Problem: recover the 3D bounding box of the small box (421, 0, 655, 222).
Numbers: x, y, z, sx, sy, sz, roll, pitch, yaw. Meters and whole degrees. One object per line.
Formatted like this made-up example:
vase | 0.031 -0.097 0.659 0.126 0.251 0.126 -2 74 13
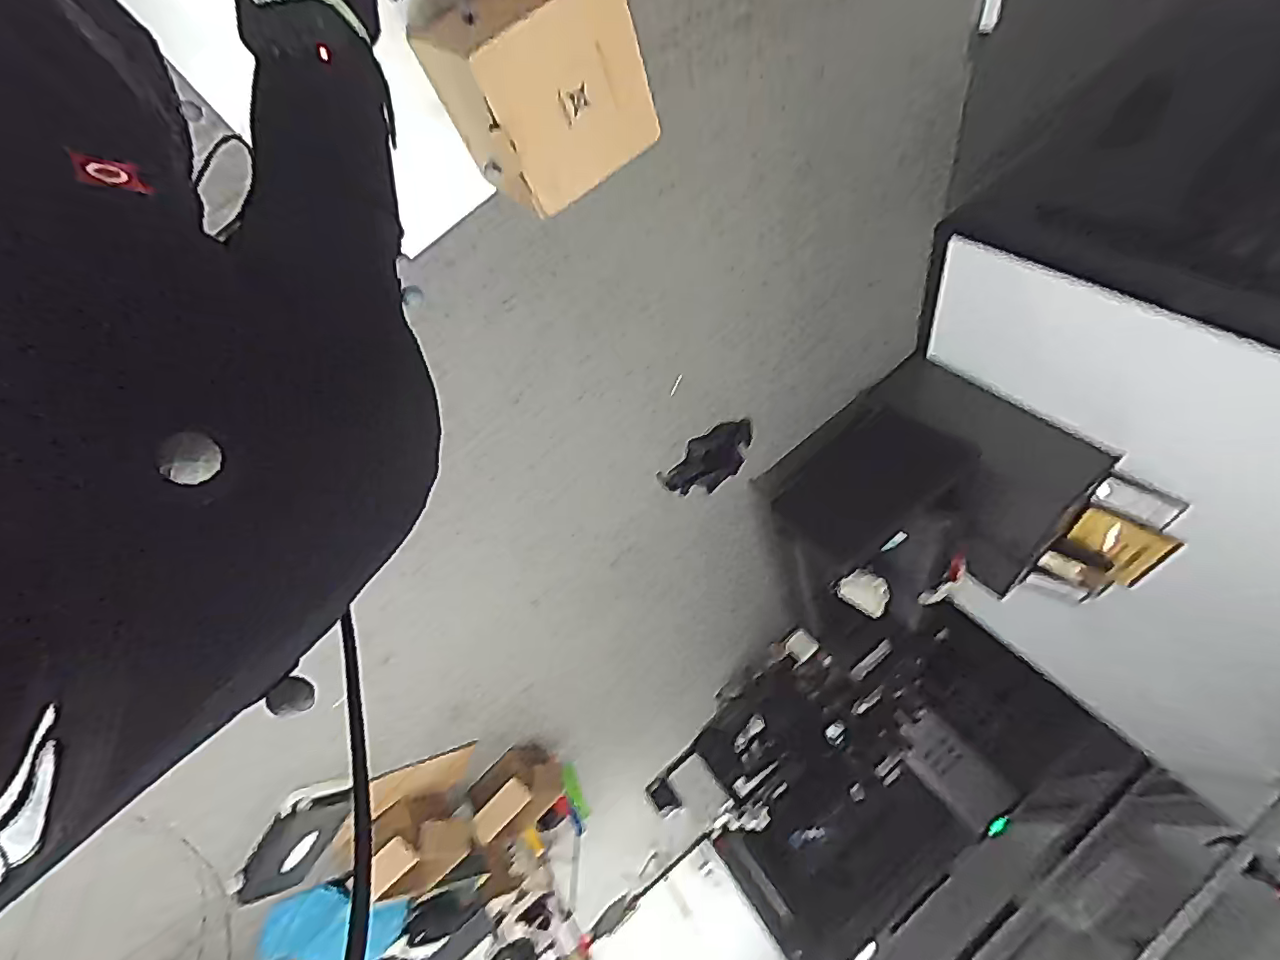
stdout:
small box | -0.116 -0.430 0.601 0.179 0.176 0.168 -40 146 -7
